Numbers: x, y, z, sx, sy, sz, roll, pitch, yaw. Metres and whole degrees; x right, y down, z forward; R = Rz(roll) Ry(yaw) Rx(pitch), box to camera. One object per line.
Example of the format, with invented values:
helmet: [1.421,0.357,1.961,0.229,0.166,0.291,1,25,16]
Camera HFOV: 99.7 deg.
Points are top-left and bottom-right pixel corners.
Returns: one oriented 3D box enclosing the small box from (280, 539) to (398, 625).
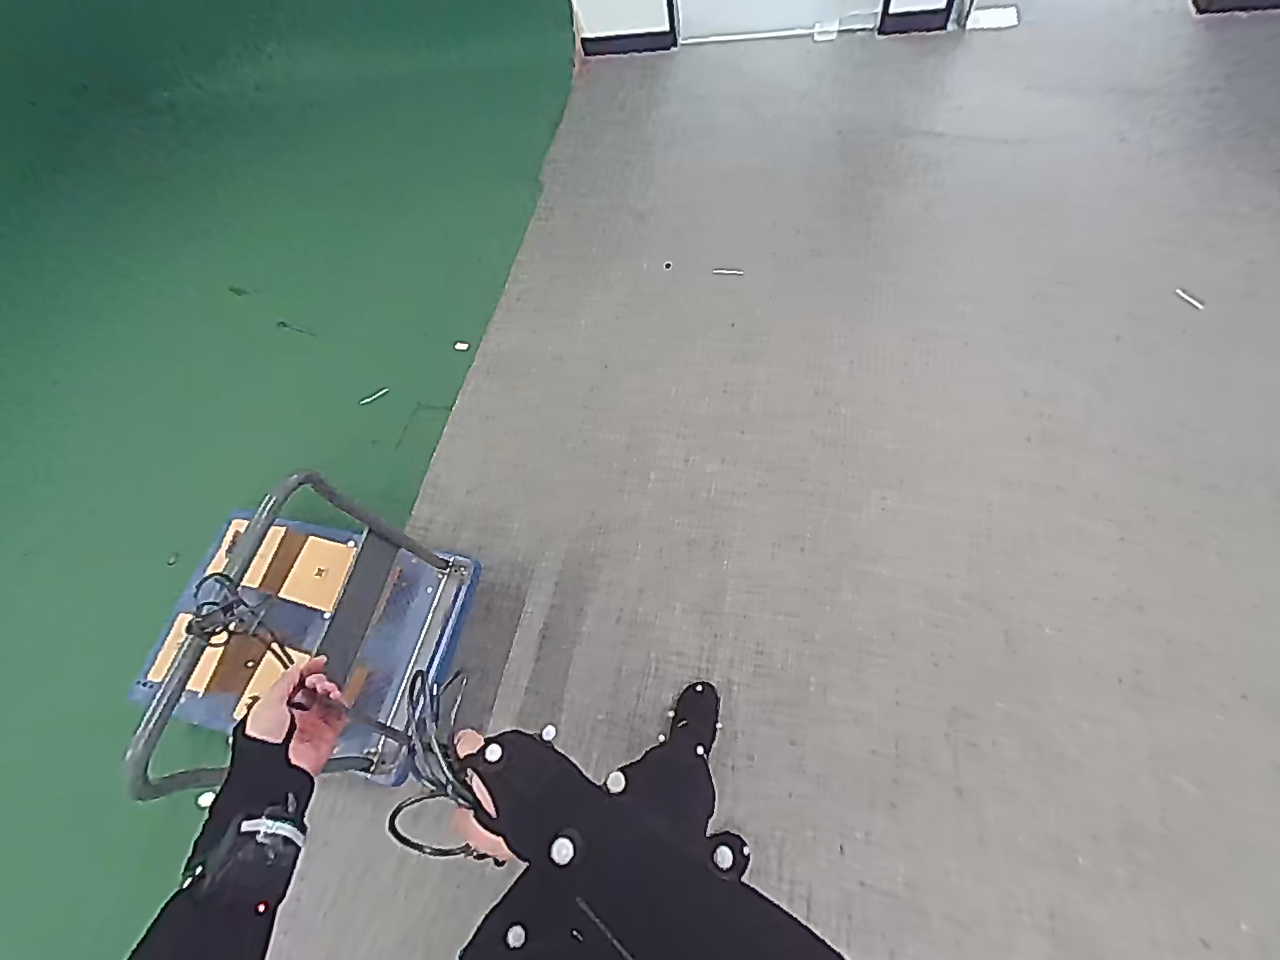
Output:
small box: [-0.784,0.273,1.425,0.179,0.176,0.168,11,68,14]

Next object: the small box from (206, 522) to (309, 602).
small box: [-1.016,0.231,1.486,0.179,0.176,0.168,8,68,12]

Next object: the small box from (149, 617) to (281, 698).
small box: [-1.078,0.460,1.390,0.179,0.176,0.168,6,66,13]
